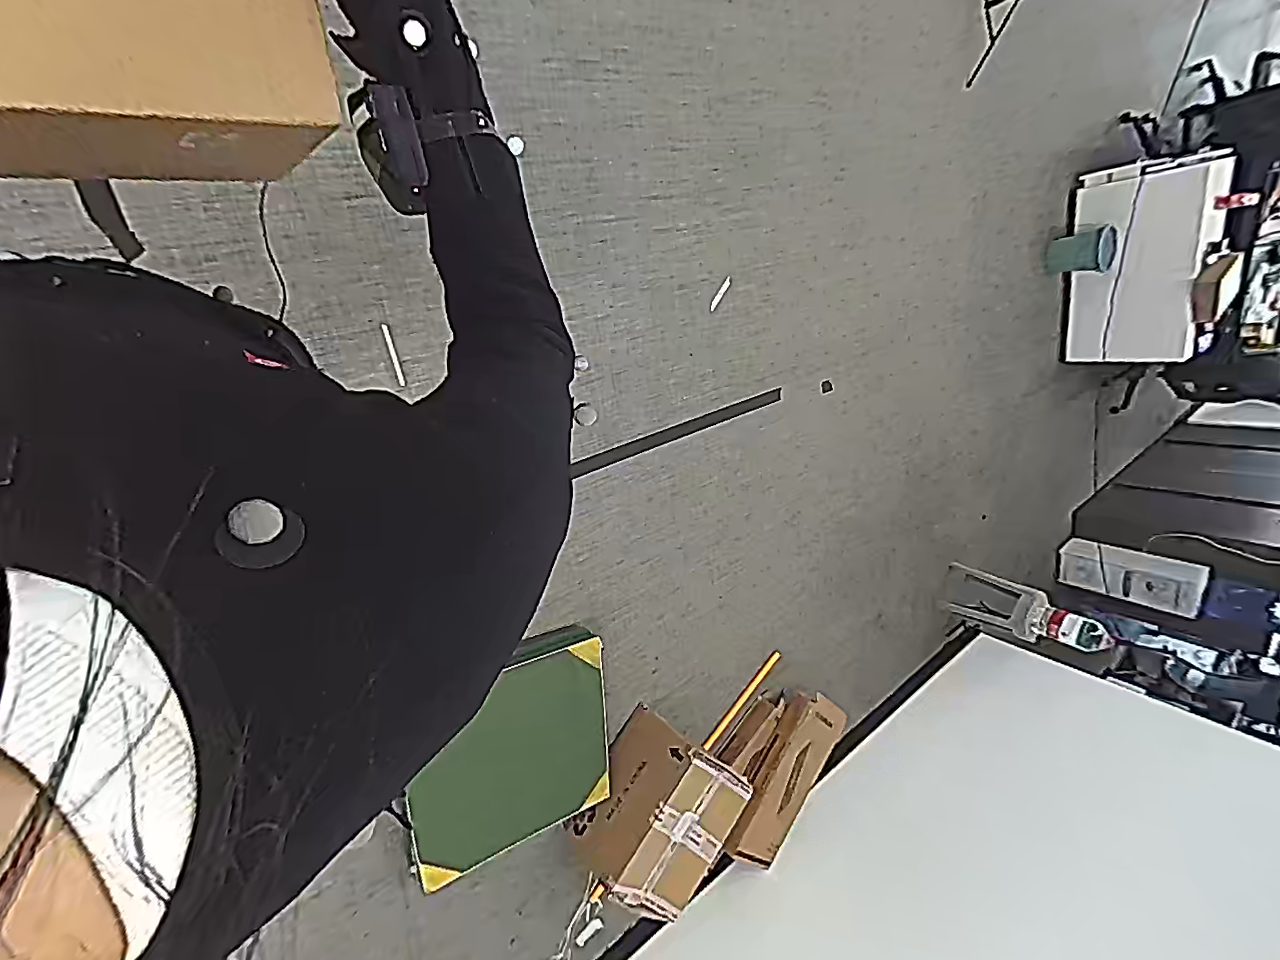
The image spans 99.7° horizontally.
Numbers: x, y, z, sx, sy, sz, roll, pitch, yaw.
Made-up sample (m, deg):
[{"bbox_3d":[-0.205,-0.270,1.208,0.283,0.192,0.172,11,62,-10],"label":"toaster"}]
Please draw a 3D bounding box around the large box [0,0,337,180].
[{"bbox_3d":[-0.453,-0.350,0.288,0.408,0.320,0.320,-21,121,-33],"label":"large box"}]
